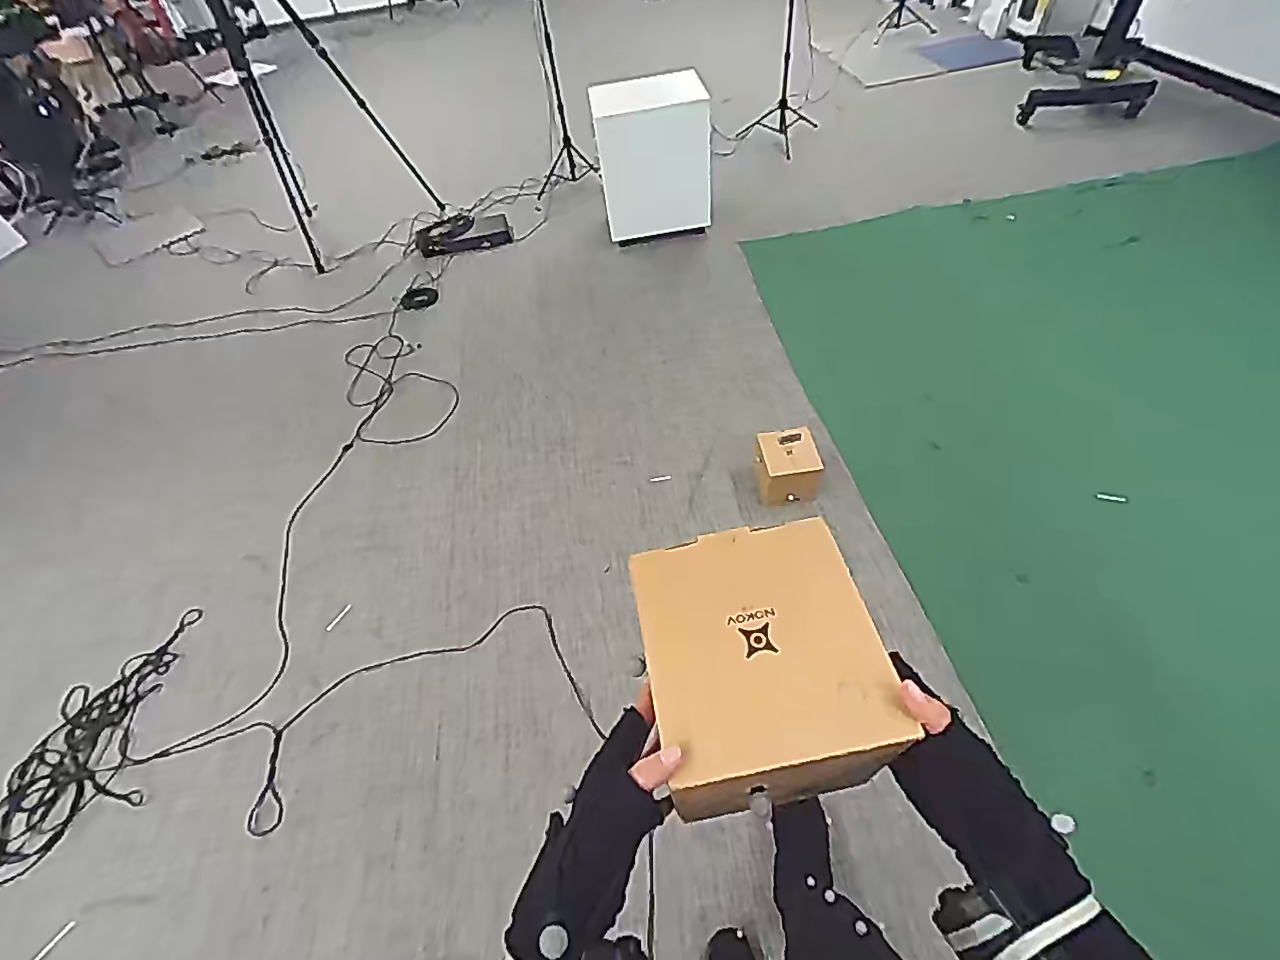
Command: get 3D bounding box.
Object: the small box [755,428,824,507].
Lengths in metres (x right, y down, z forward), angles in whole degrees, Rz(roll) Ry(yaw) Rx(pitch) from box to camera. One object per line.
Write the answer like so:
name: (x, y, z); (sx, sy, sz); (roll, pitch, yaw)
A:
small box: (0.470, -0.039, 1.724); (0.168, 0.176, 0.179); (-8, 53, 2)

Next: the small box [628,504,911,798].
small box: (0.092, 0.151, 0.456); (0.168, 0.176, 0.179); (-12, 49, -1)
